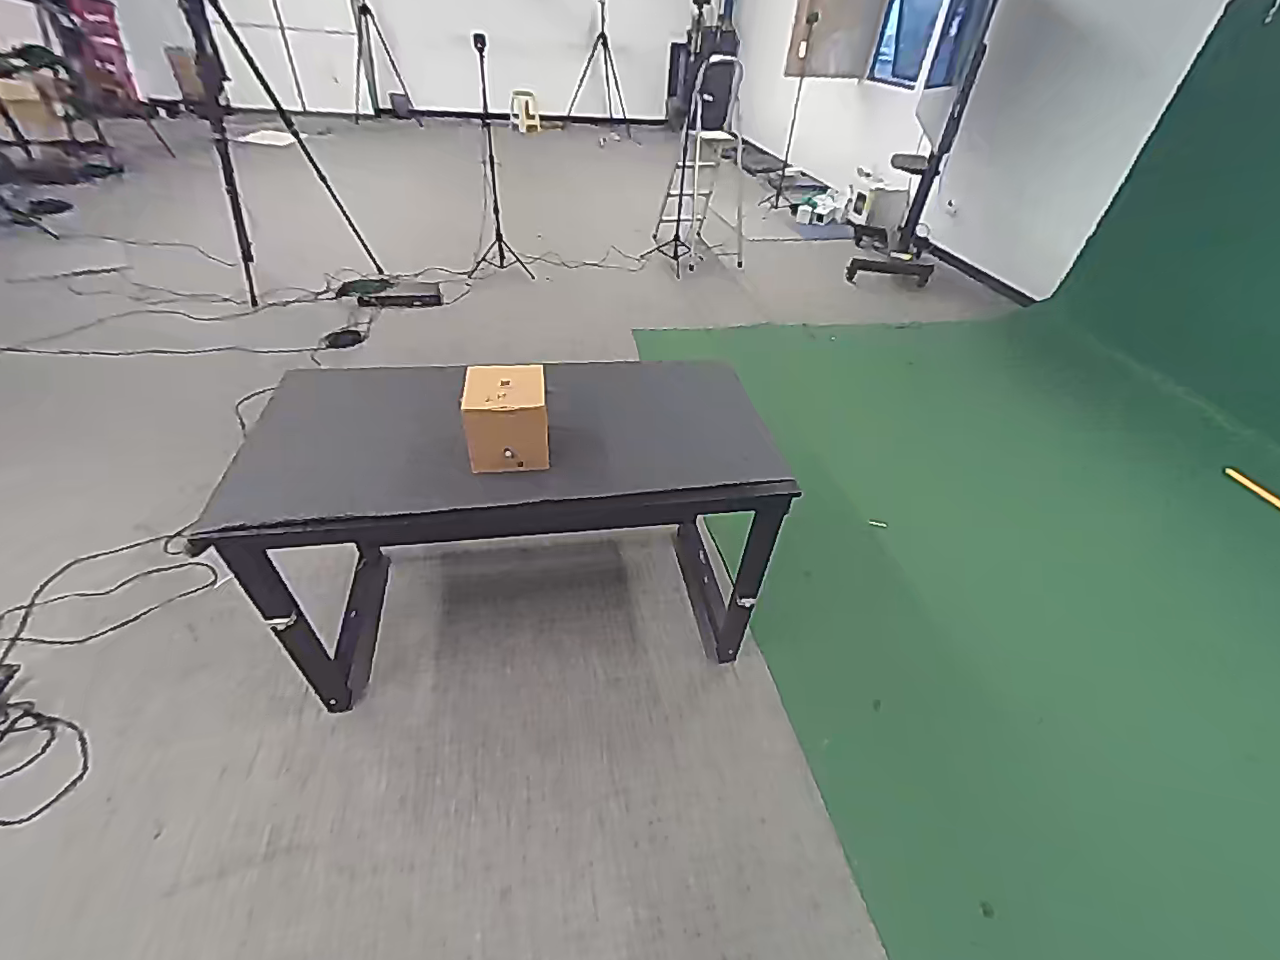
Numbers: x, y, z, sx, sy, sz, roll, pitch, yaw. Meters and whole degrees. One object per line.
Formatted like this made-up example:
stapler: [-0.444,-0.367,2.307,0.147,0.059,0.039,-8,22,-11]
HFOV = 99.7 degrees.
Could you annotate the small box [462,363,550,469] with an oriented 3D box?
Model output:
small box: [-0.288,-0.142,1.189,0.168,0.176,0.179,-3,41,-9]
